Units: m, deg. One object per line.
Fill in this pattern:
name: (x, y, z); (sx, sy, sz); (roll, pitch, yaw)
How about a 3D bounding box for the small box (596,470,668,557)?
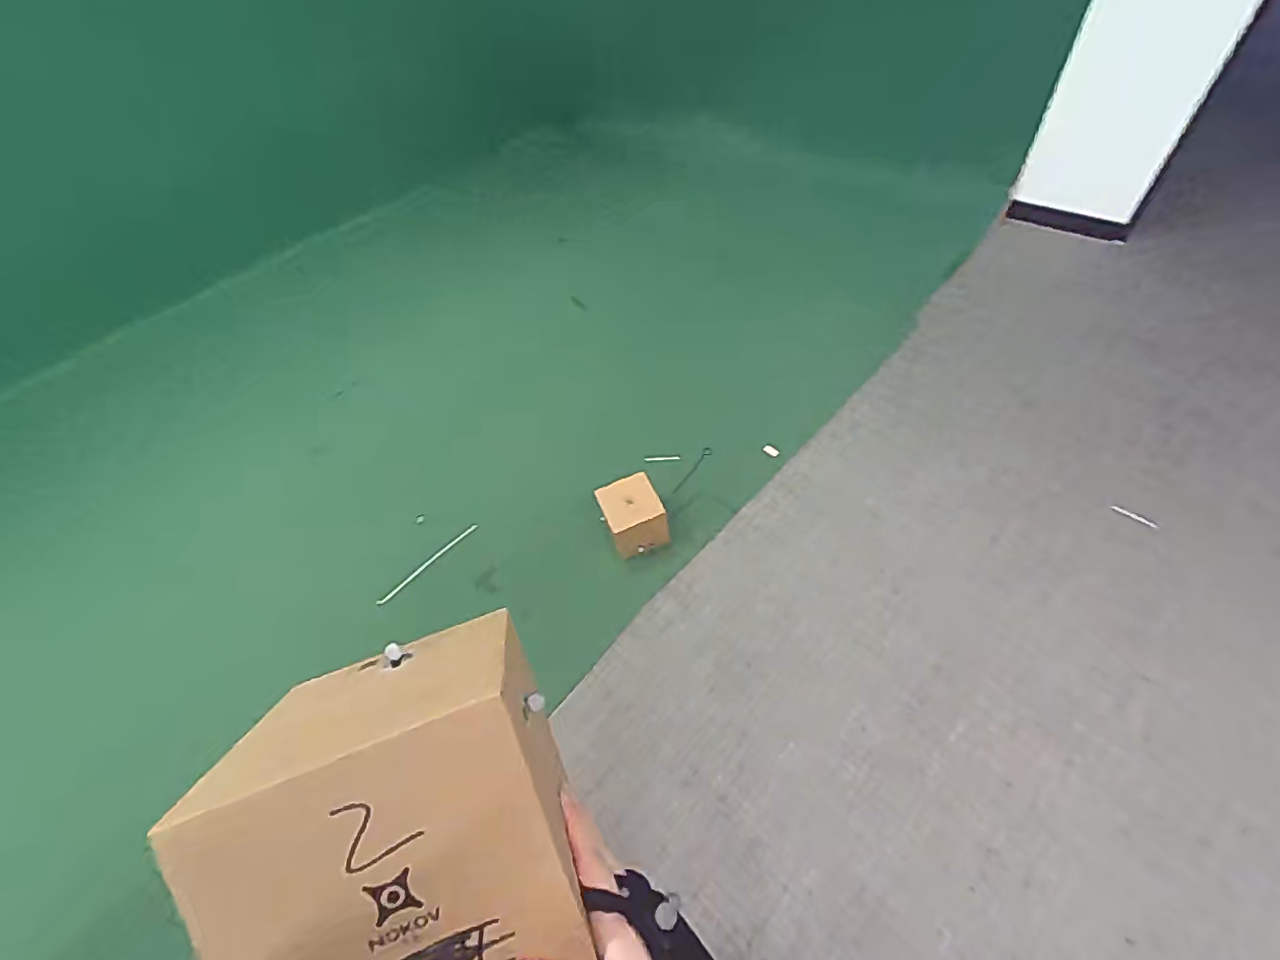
small box: (-0.022, 0.107, 1.675); (0.168, 0.176, 0.179); (-22, 53, -8)
